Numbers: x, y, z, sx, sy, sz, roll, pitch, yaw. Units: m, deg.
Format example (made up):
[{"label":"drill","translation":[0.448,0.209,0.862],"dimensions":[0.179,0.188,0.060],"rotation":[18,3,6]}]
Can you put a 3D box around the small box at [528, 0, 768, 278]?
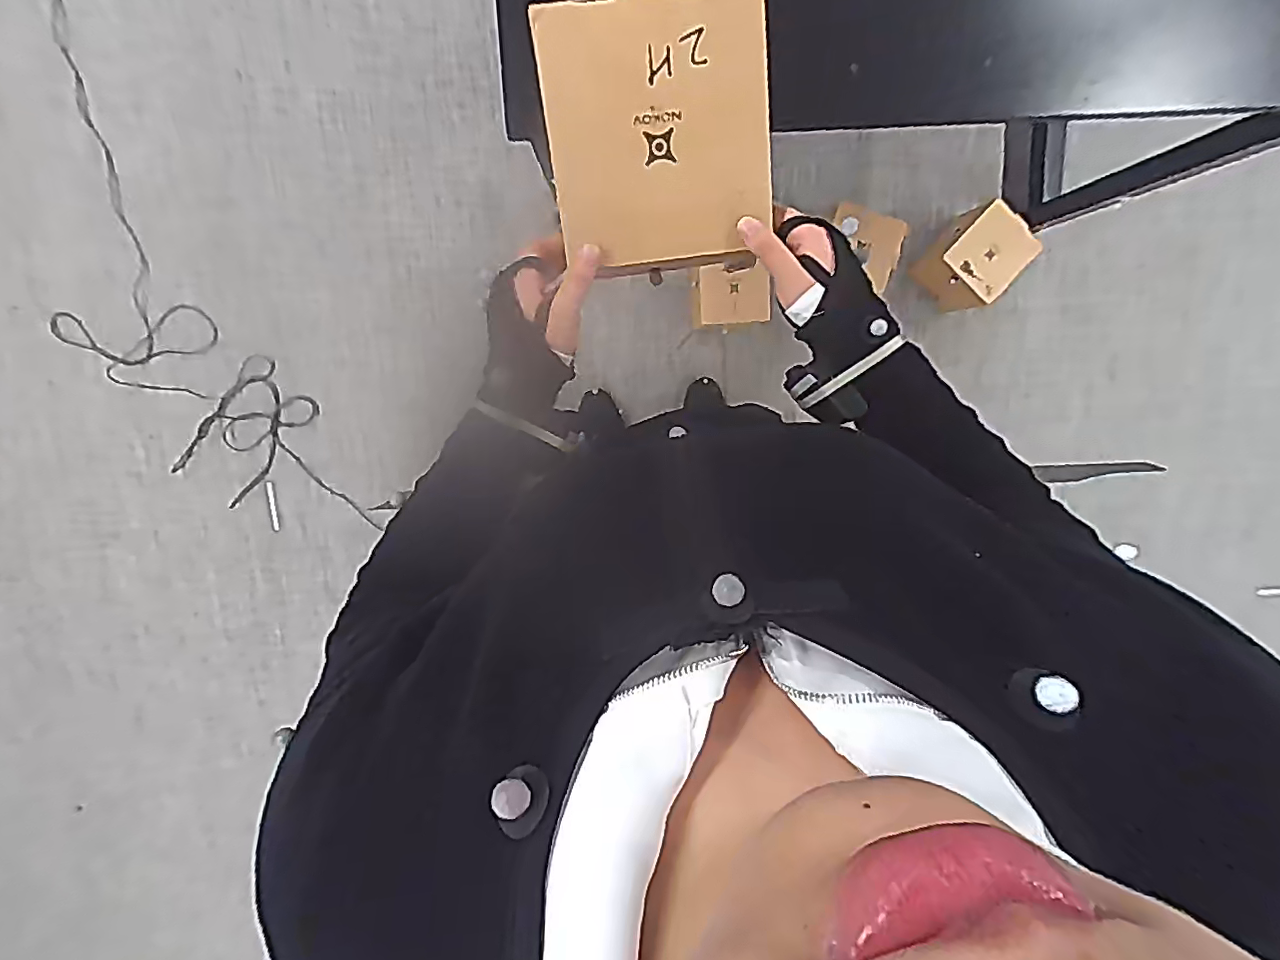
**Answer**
[{"label":"small box","translation":[0.008,-0.279,0.477],"dimensions":[0.168,0.176,0.179],"rotation":[-8,108,-1]}]

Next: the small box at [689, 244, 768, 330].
[{"label":"small box","translation":[0.214,-0.471,1.333],"dimensions":[0.168,0.176,0.179],"rotation":[-4,103,0]}]

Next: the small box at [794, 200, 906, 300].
[{"label":"small box","translation":[0.504,-0.551,1.324],"dimensions":[0.179,0.176,0.168],"rotation":[18,99,-3]}]

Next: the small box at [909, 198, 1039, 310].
[{"label":"small box","translation":[0.807,-0.544,1.328],"dimensions":[0.168,0.176,0.179],"rotation":[40,98,-8]}]
